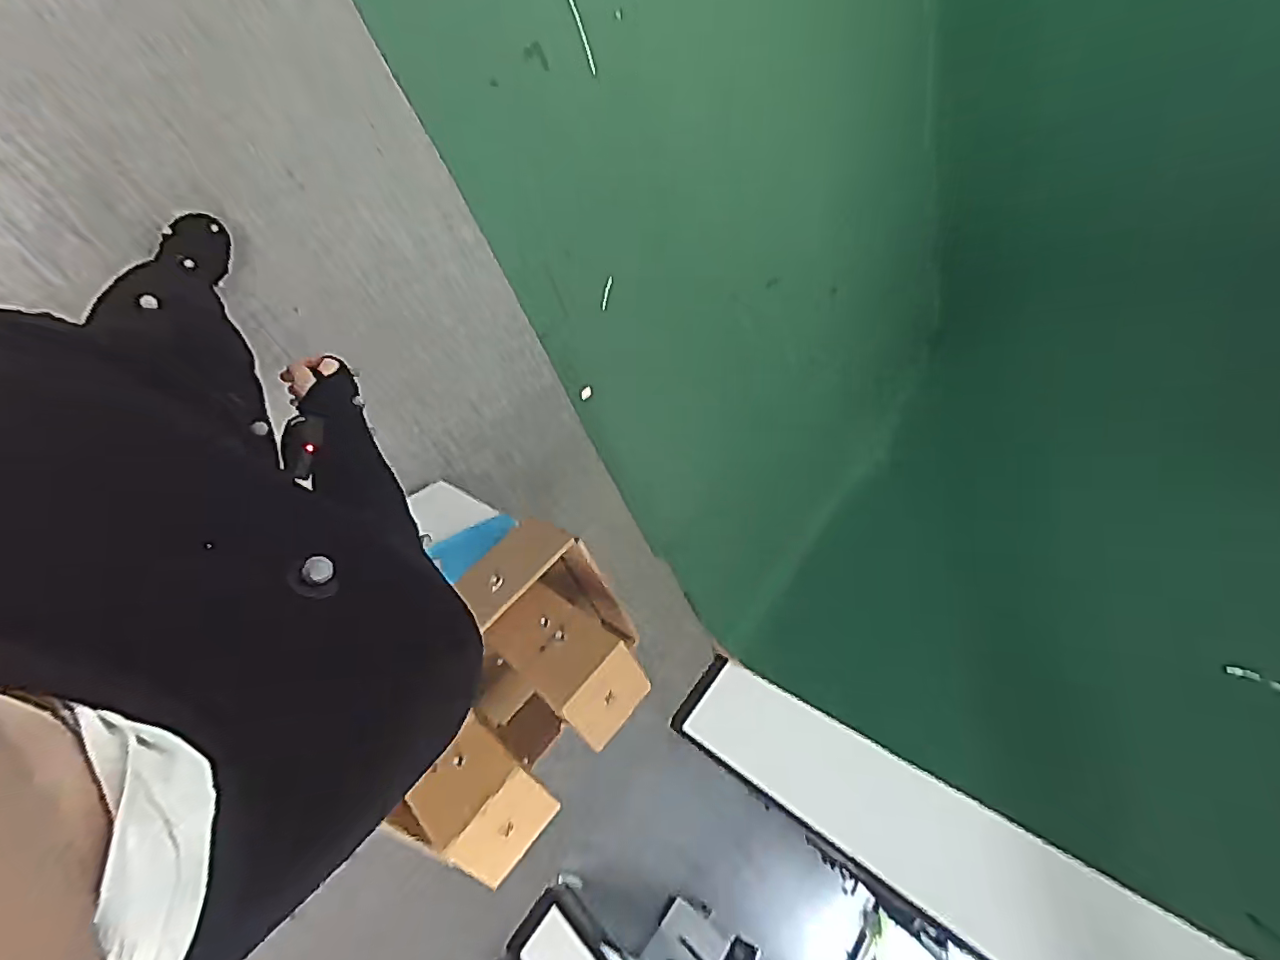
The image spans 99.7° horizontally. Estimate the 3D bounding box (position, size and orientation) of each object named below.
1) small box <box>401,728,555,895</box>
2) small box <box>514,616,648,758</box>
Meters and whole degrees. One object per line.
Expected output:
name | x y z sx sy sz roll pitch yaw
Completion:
small box | -0.290 0.586 0.975 0.168 0.176 0.179 -44 131 -25
small box | -0.118 0.406 1.083 0.168 0.176 0.179 -44 130 -25
